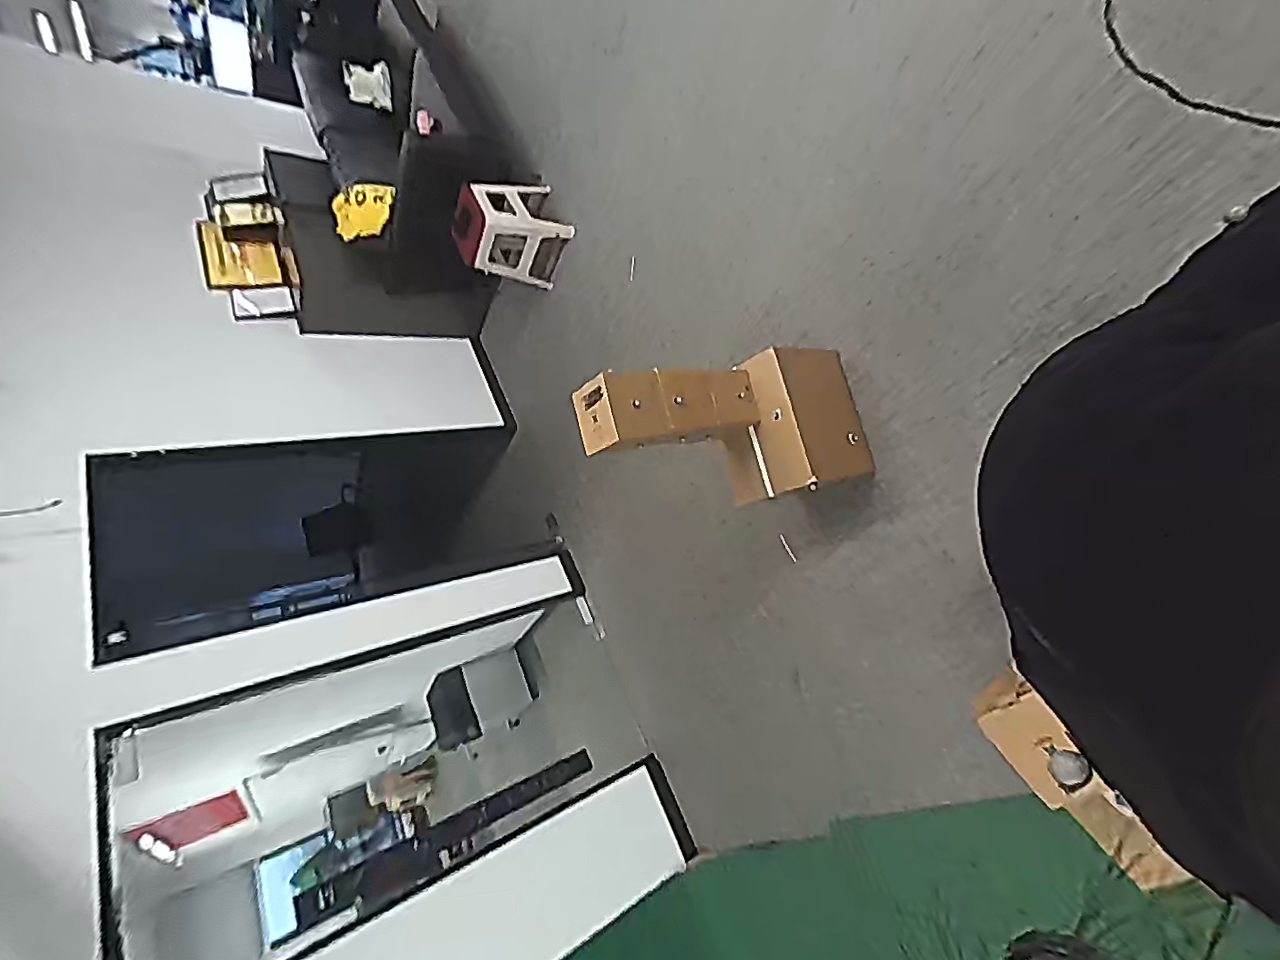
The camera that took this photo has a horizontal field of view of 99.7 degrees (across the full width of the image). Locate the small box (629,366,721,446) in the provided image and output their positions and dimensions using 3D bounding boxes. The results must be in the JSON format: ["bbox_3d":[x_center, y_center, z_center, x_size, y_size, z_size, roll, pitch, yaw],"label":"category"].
[{"bbox_3d":[0.098,-0.203,1.500,0.168,0.176,0.179,-22,80,54],"label":"small box"}]

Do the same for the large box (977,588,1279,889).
[{"bbox_3d":[1.017,0.495,1.102,0.408,0.320,0.320,52,135,31],"label":"large box"}]

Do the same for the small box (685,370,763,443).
[{"bbox_3d":[0.231,-0.215,1.593,0.179,0.176,0.168,-24,78,54],"label":"small box"}]

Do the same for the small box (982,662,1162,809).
[{"bbox_3d":[0.786,0.454,0.988,0.179,0.176,0.168,57,136,29],"label":"small box"}]
